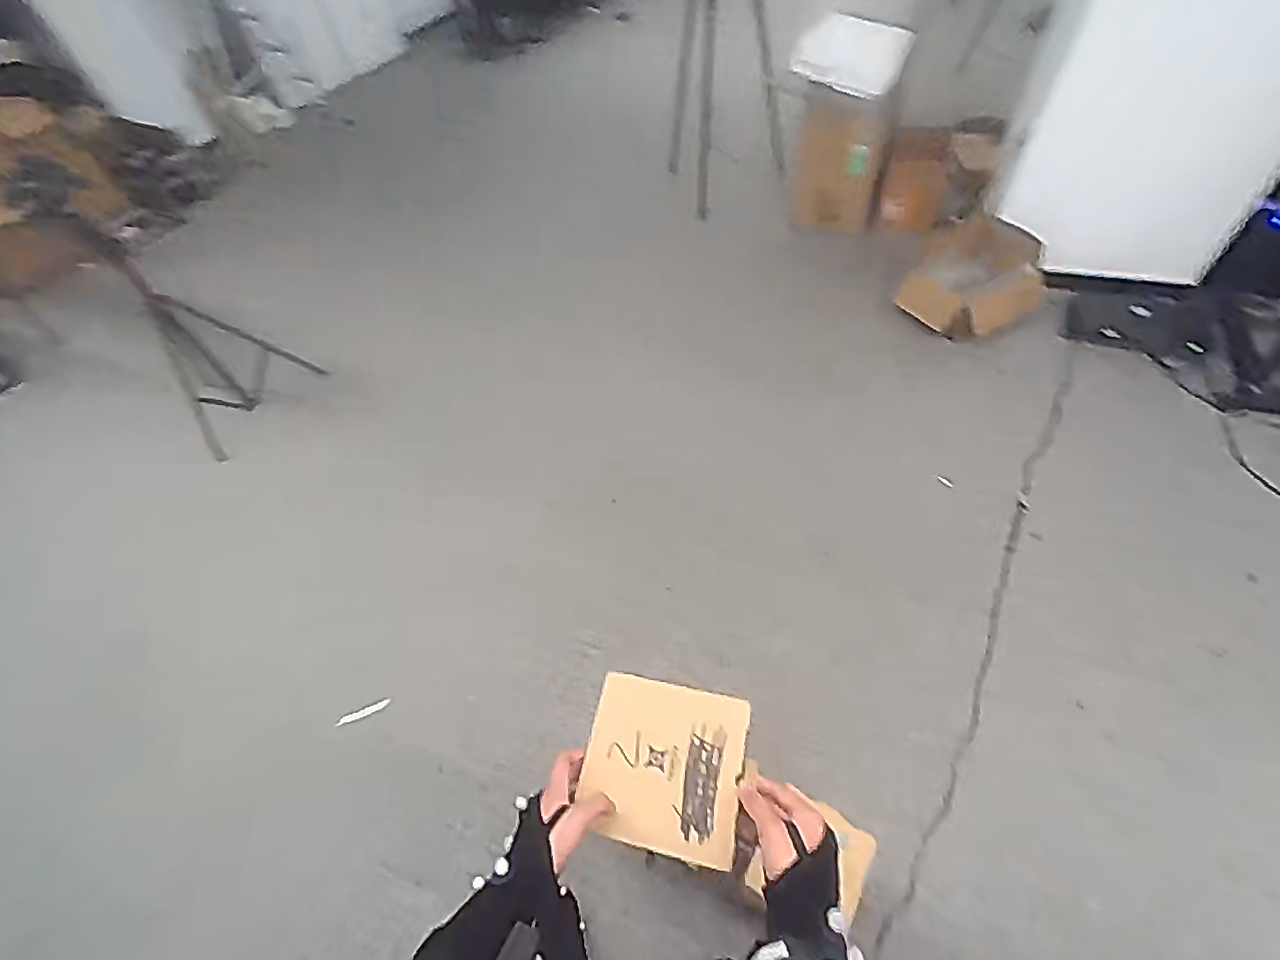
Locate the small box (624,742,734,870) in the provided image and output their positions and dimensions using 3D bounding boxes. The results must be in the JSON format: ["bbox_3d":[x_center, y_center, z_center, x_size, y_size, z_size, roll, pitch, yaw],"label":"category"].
[{"bbox_3d":[0.089,0.708,1.174,0.179,0.176,0.168,24,59,24],"label":"small box"}]

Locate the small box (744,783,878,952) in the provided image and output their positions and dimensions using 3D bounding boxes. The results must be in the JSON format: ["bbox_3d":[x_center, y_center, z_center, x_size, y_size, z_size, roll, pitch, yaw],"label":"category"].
[{"bbox_3d":[0.294,0.684,0.961,0.168,0.176,0.179,24,58,24],"label":"small box"}]
